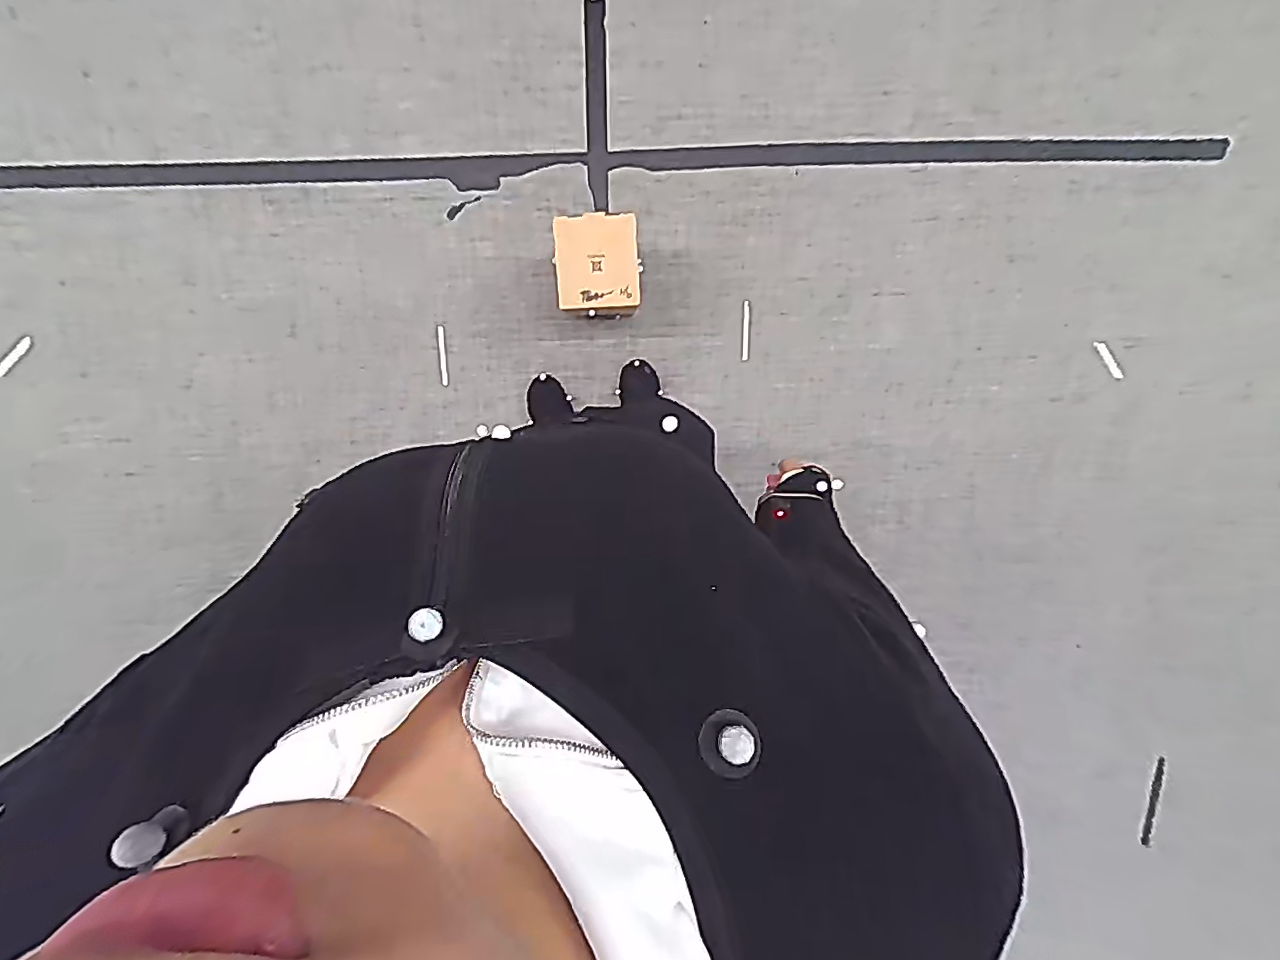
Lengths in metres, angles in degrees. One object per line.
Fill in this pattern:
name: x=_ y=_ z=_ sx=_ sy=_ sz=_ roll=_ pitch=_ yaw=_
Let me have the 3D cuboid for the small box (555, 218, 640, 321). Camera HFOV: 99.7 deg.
small box: x=-0.088 y=-0.442 z=1.158 sx=0.168 sy=0.176 sz=0.179 roll=-4 pitch=101 yaw=-2
